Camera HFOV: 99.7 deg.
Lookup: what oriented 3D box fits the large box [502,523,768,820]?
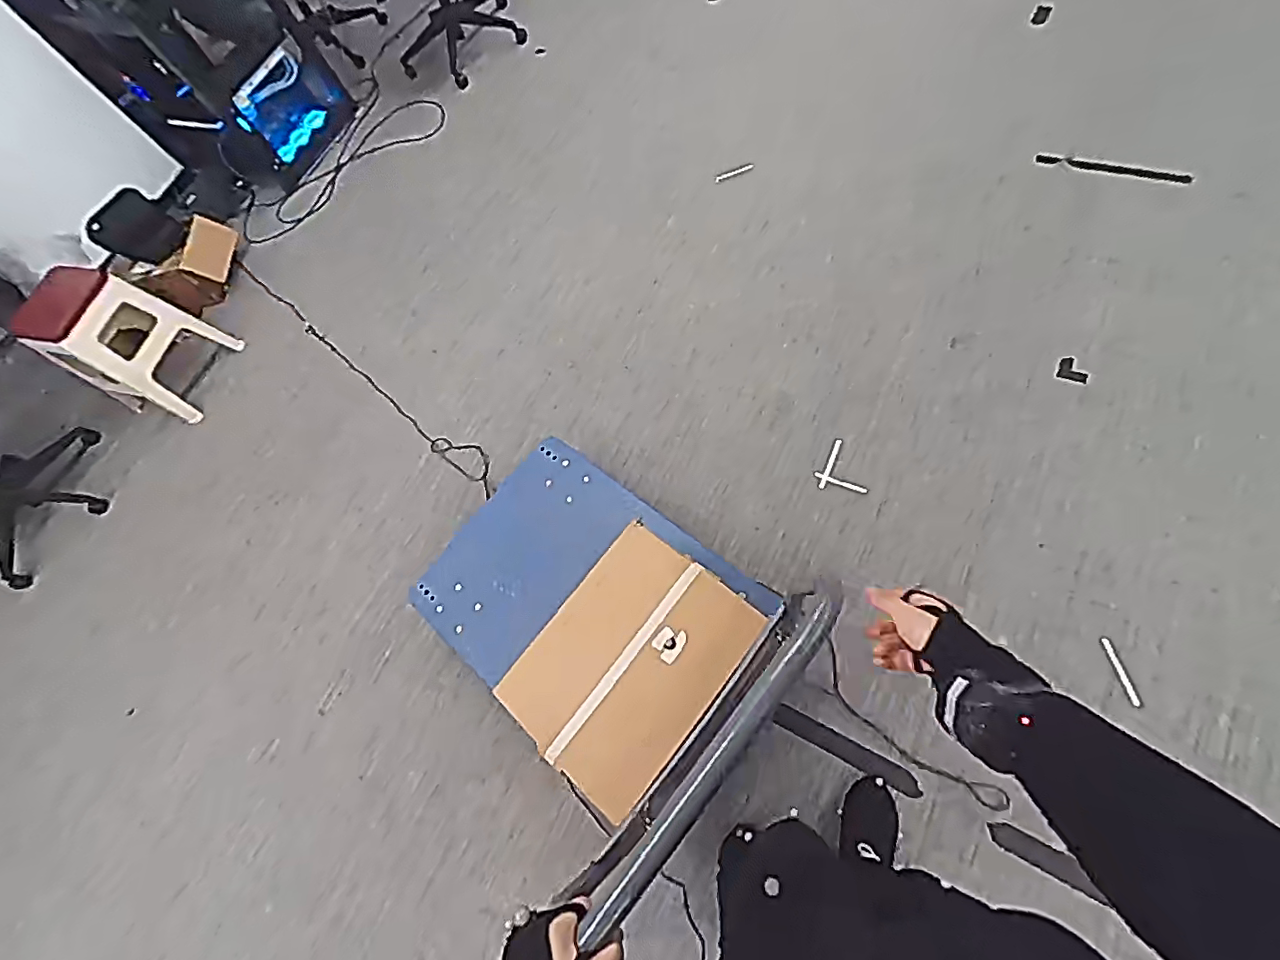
[{"bbox_3d":[0.015,0.368,1.075,0.320,0.320,0.408,35,79,24],"label":"large box"}]
